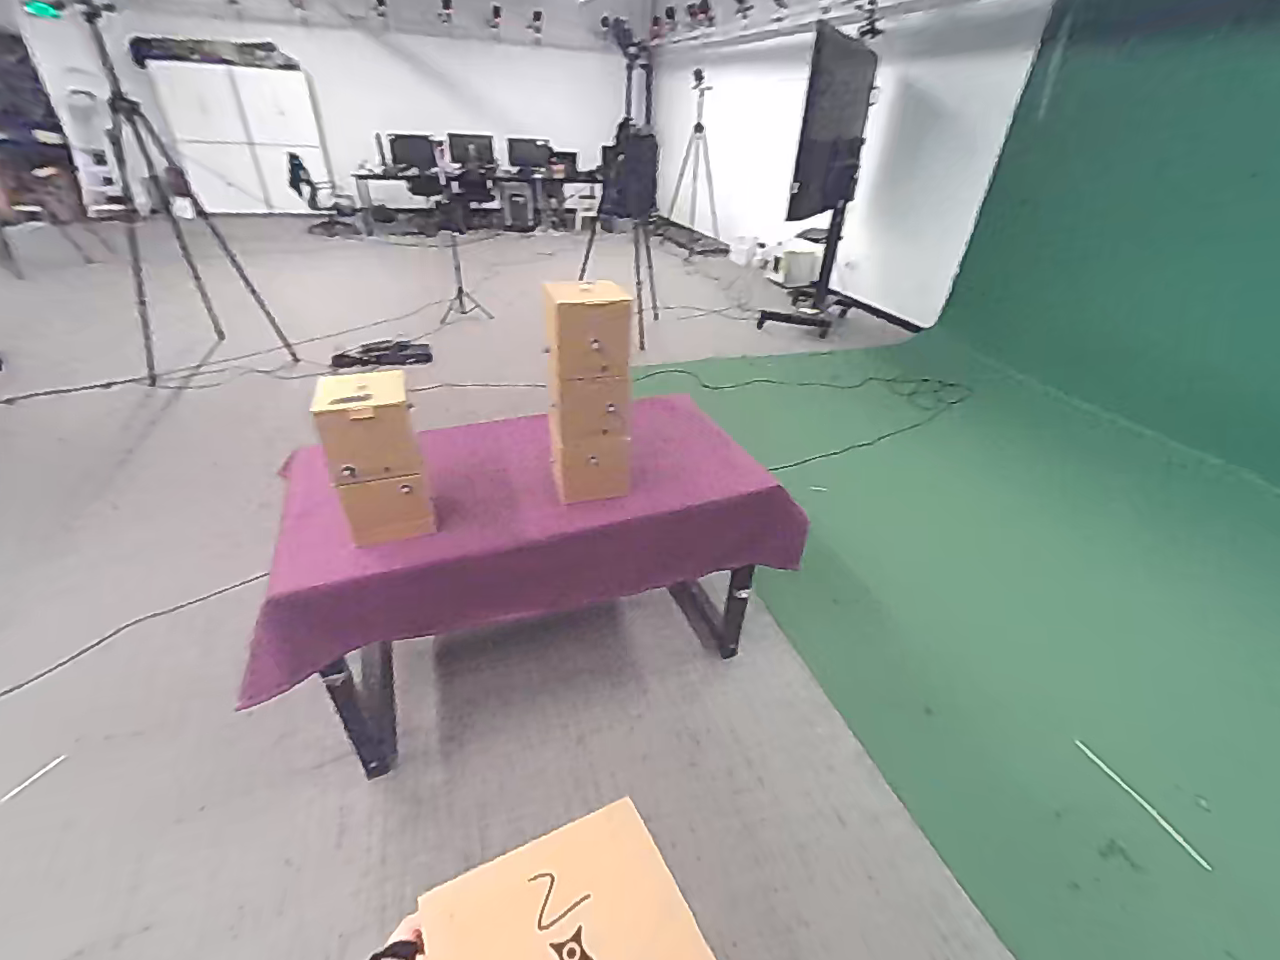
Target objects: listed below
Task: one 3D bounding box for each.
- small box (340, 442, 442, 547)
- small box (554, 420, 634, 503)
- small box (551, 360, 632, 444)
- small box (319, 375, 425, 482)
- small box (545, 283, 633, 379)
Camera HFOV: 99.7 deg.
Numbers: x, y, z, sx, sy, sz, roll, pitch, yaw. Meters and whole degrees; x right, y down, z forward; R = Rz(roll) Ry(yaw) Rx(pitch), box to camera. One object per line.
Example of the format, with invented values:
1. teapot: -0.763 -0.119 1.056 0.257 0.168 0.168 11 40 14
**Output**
1. small box: -0.563 0.033 1.238 0.179 0.176 0.168 -10 35 -18
2. small box: -0.119 -0.056 1.392 0.179 0.176 0.168 -8 35 -14
3. small box: -0.118 -0.196 1.309 0.168 0.176 0.179 -8 34 -15
4. small box: -0.561 -0.106 1.150 0.168 0.176 0.179 -10 34 -19
5. small box: -0.116 -0.333 1.217 0.168 0.176 0.179 -8 35 -16
